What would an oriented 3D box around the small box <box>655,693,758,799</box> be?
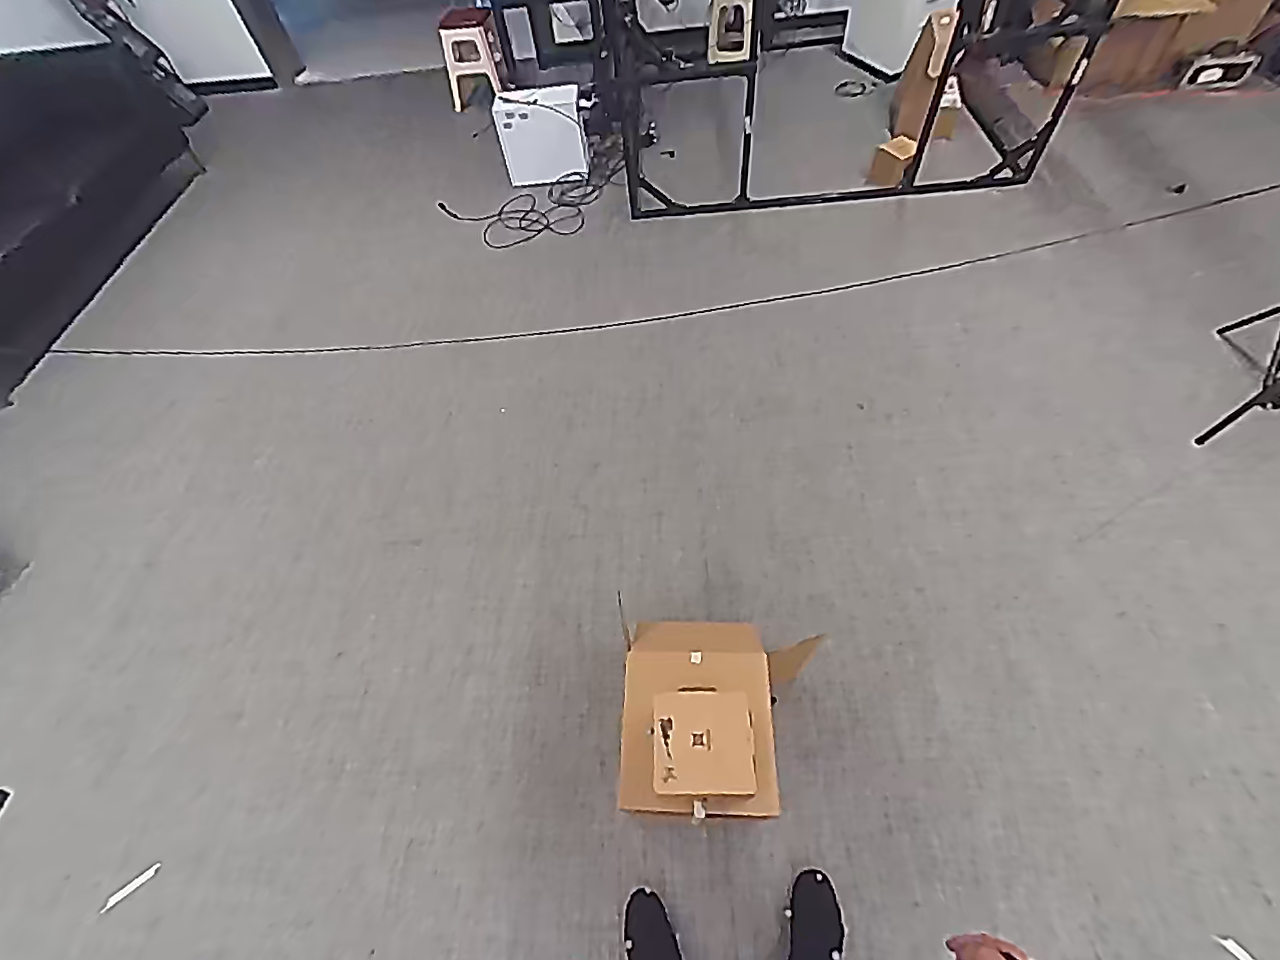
[{"bbox_3d":[0.120,0.507,1.026,0.179,0.176,0.168,-2,58,5],"label":"small box"}]
